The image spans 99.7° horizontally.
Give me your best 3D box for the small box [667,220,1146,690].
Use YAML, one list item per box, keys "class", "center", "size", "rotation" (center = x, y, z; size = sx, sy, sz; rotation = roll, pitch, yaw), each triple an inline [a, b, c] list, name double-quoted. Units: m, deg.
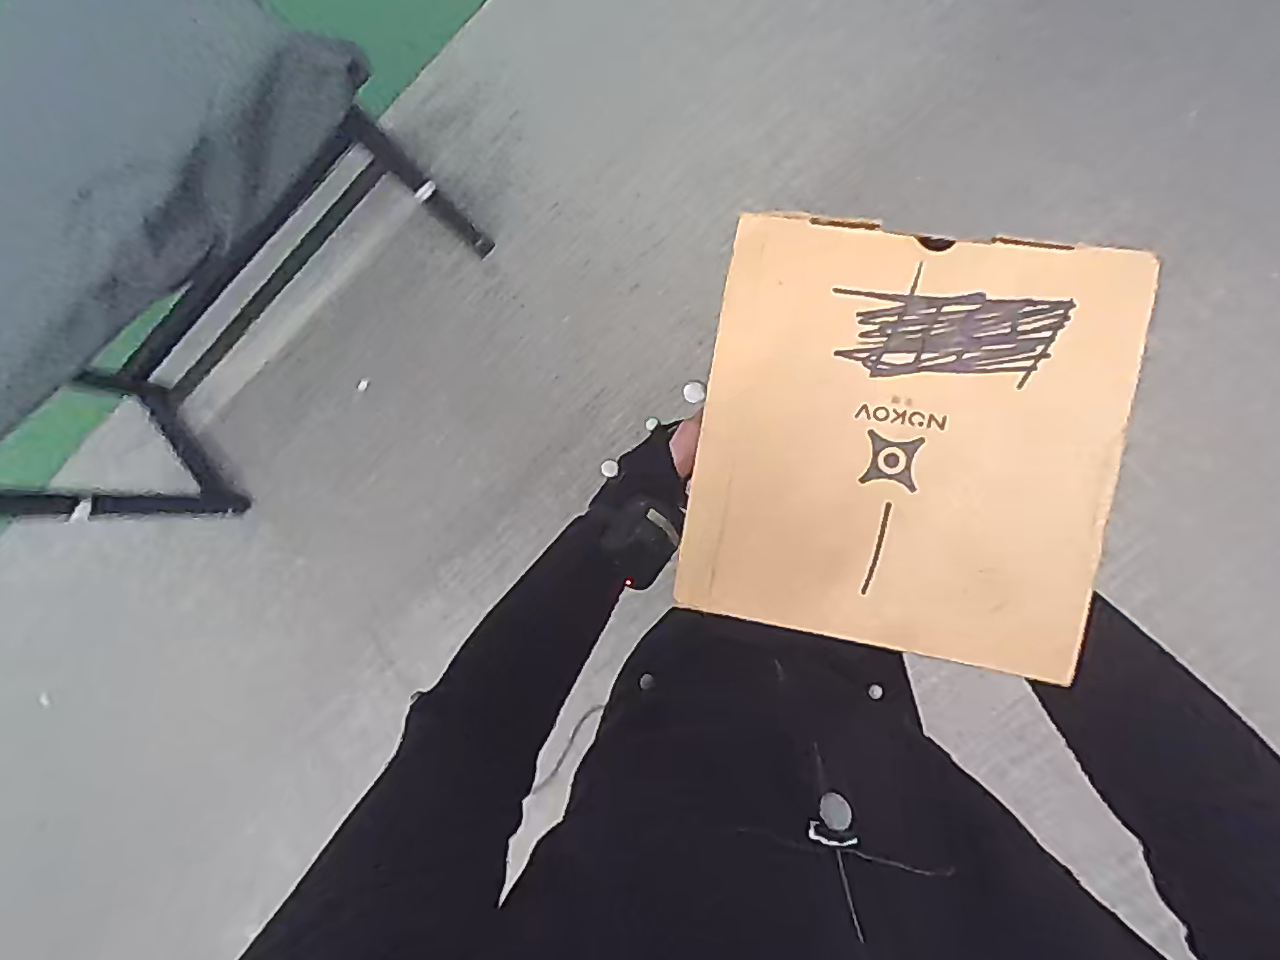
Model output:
- class: "small box"
  center: [0.115, -0.015, 0.303]
  size: [0.168, 0.176, 0.179]
  rotation: [9, 93, 9]
